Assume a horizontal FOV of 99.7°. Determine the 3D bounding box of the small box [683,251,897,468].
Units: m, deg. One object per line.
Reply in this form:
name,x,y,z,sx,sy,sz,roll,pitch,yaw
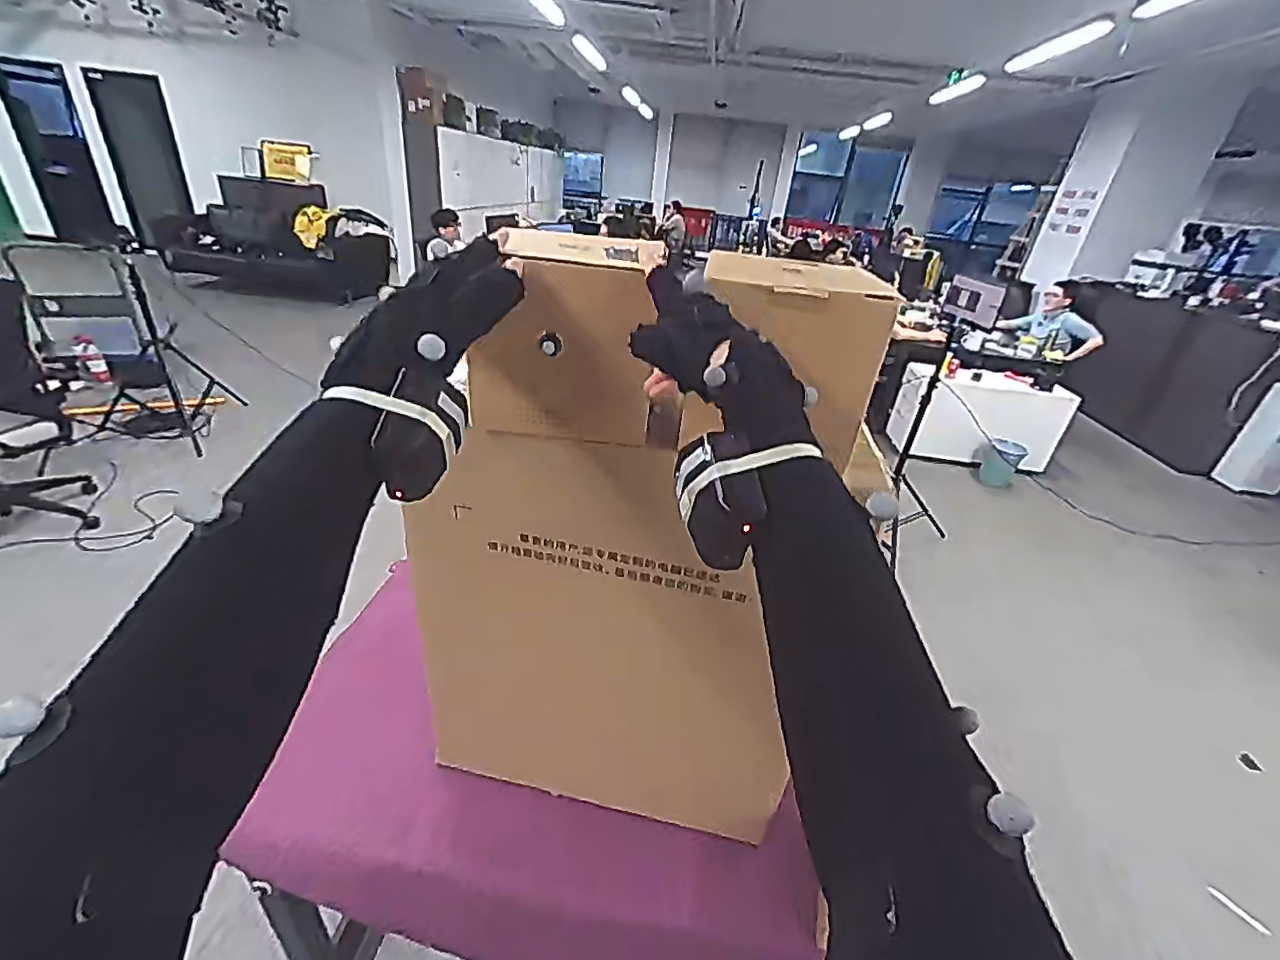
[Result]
small box,0.140,-0.129,0.561,0.168,0.176,0.179,10,31,5
